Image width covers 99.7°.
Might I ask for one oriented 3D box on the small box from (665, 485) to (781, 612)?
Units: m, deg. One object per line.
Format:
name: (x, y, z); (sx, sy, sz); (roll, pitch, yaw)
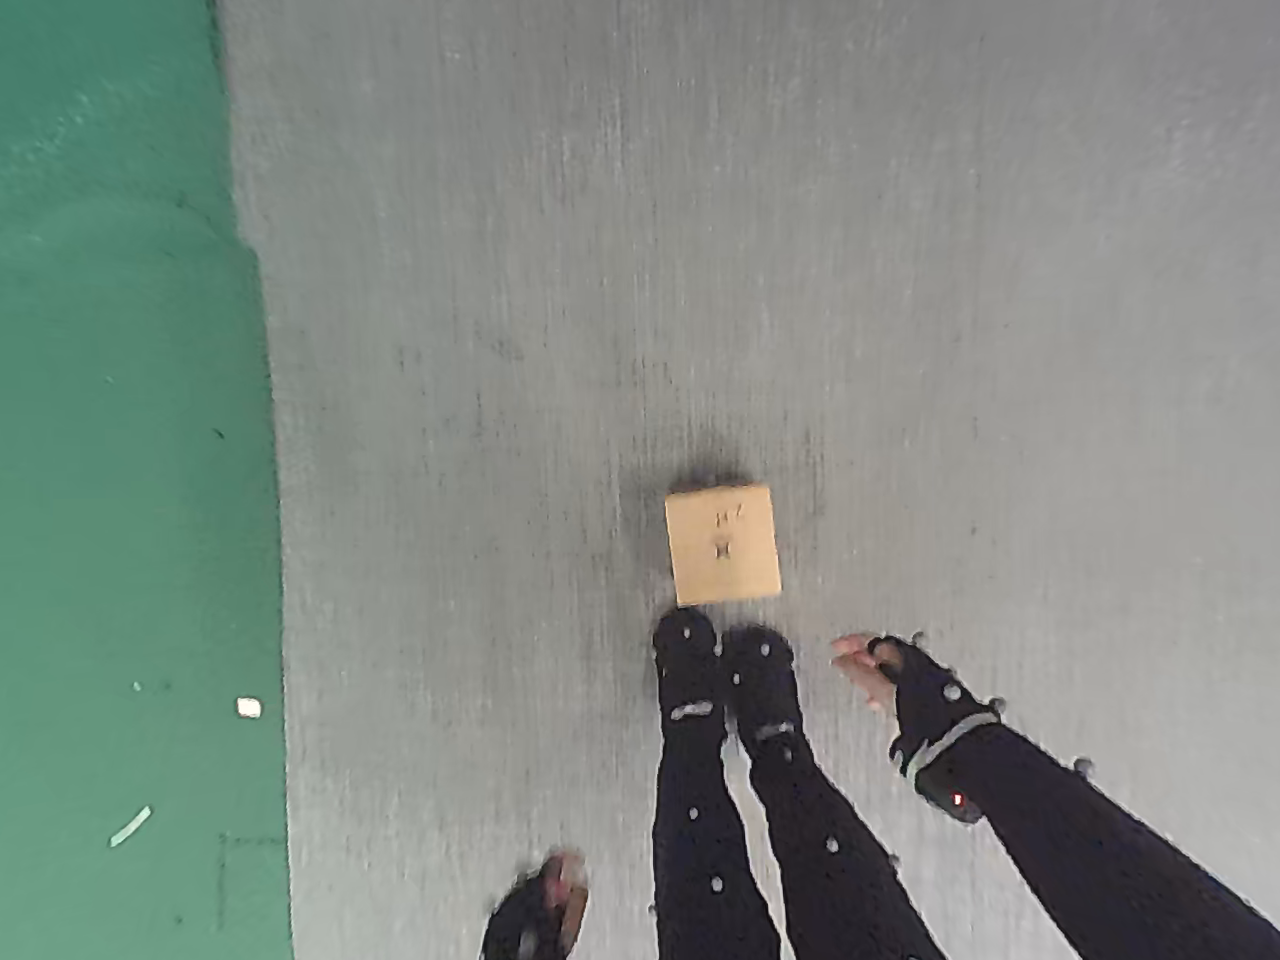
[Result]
small box: (0.137, 0.108, 0.919); (0.168, 0.176, 0.179); (-7, 92, 5)
